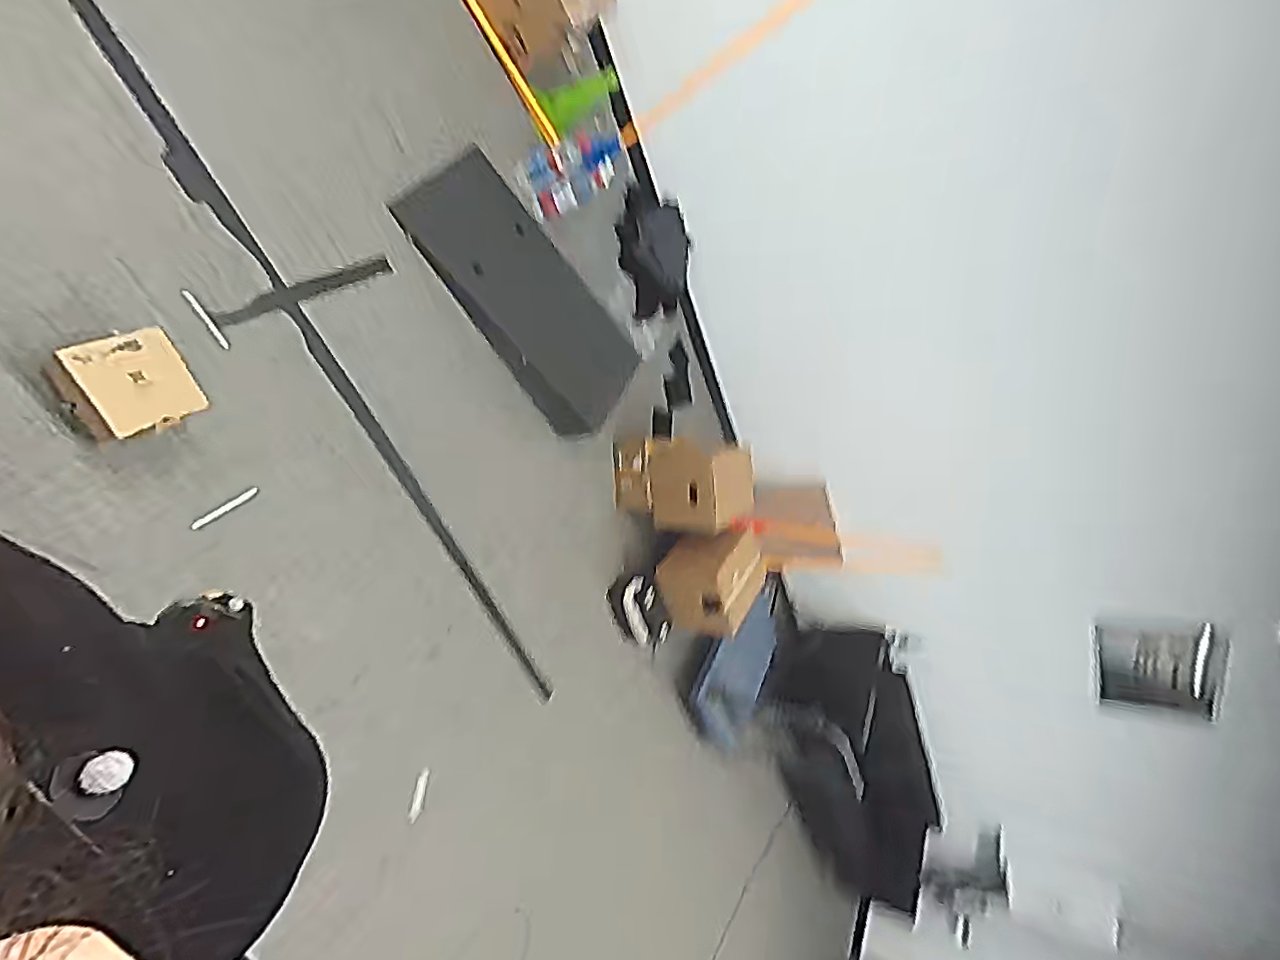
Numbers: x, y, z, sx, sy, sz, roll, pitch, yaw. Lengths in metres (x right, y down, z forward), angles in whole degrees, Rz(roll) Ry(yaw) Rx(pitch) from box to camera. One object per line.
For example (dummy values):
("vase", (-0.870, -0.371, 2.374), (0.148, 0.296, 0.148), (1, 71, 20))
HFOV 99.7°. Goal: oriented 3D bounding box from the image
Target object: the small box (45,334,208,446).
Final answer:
("small box", (-1.031, -0.178, 1.090), (0.168, 0.176, 0.179), (-42, 122, -47))
